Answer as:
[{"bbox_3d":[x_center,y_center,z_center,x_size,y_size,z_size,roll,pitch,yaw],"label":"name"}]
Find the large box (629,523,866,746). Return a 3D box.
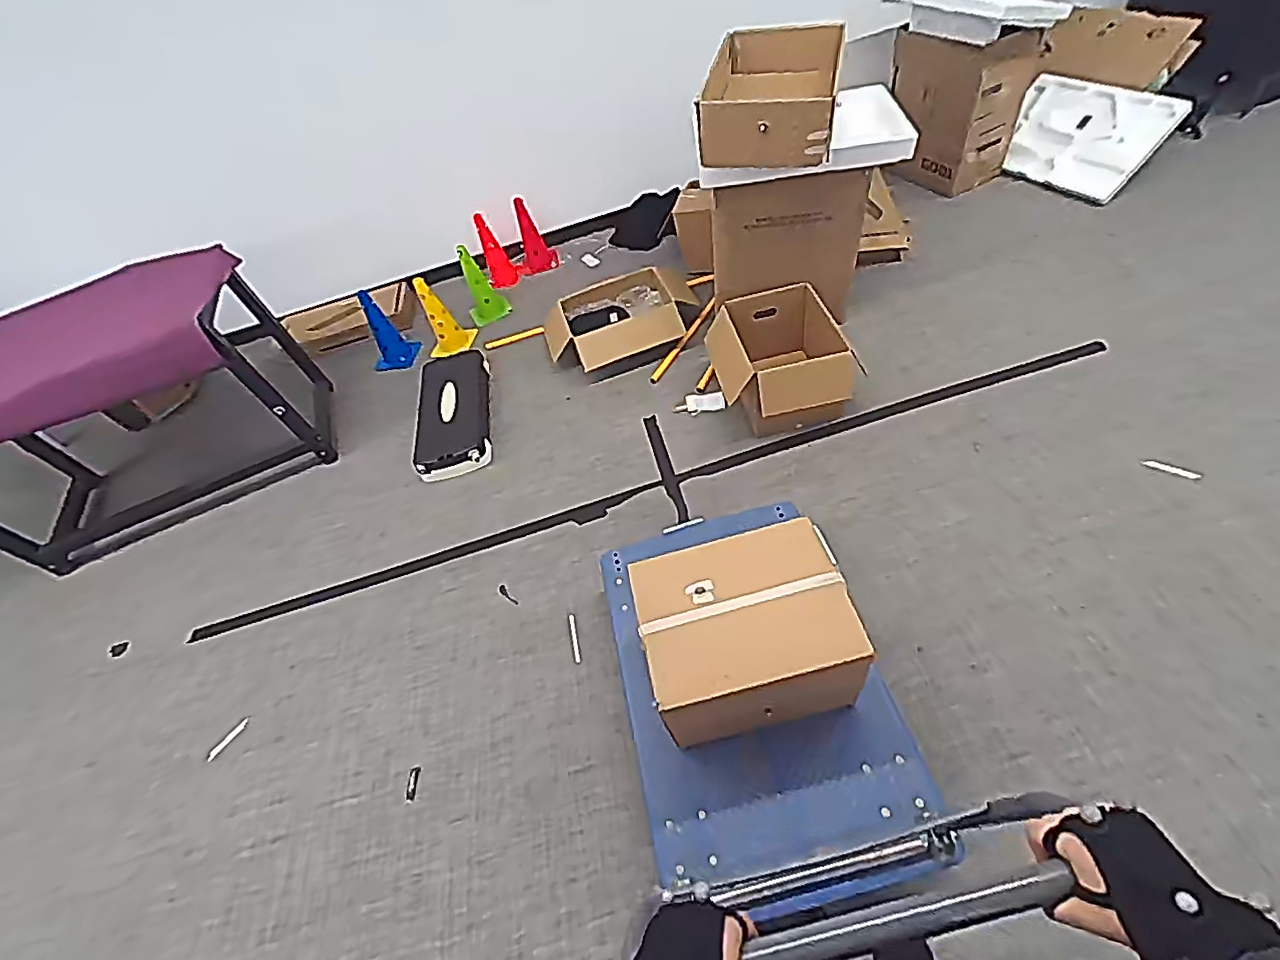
[{"bbox_3d":[0.226,0.350,1.198,0.408,0.320,0.320,-16,50,2],"label":"large box"}]
